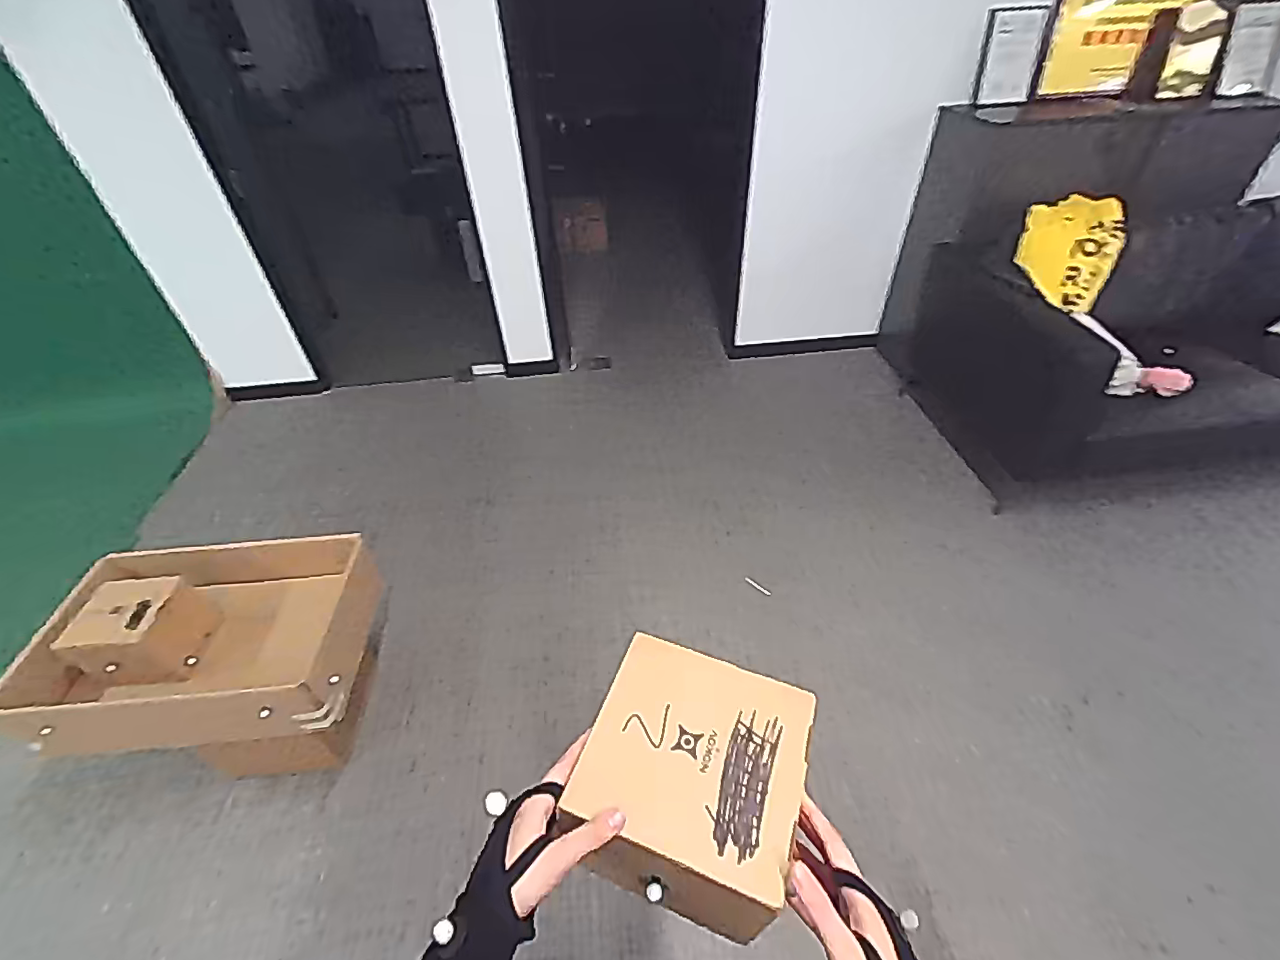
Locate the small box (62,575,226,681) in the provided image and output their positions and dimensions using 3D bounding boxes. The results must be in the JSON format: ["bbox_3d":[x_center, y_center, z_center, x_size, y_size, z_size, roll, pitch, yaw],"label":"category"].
[{"bbox_3d":[-1.080,0.330,1.201,0.179,0.176,0.168,-4,43,-1],"label":"small box"}]
